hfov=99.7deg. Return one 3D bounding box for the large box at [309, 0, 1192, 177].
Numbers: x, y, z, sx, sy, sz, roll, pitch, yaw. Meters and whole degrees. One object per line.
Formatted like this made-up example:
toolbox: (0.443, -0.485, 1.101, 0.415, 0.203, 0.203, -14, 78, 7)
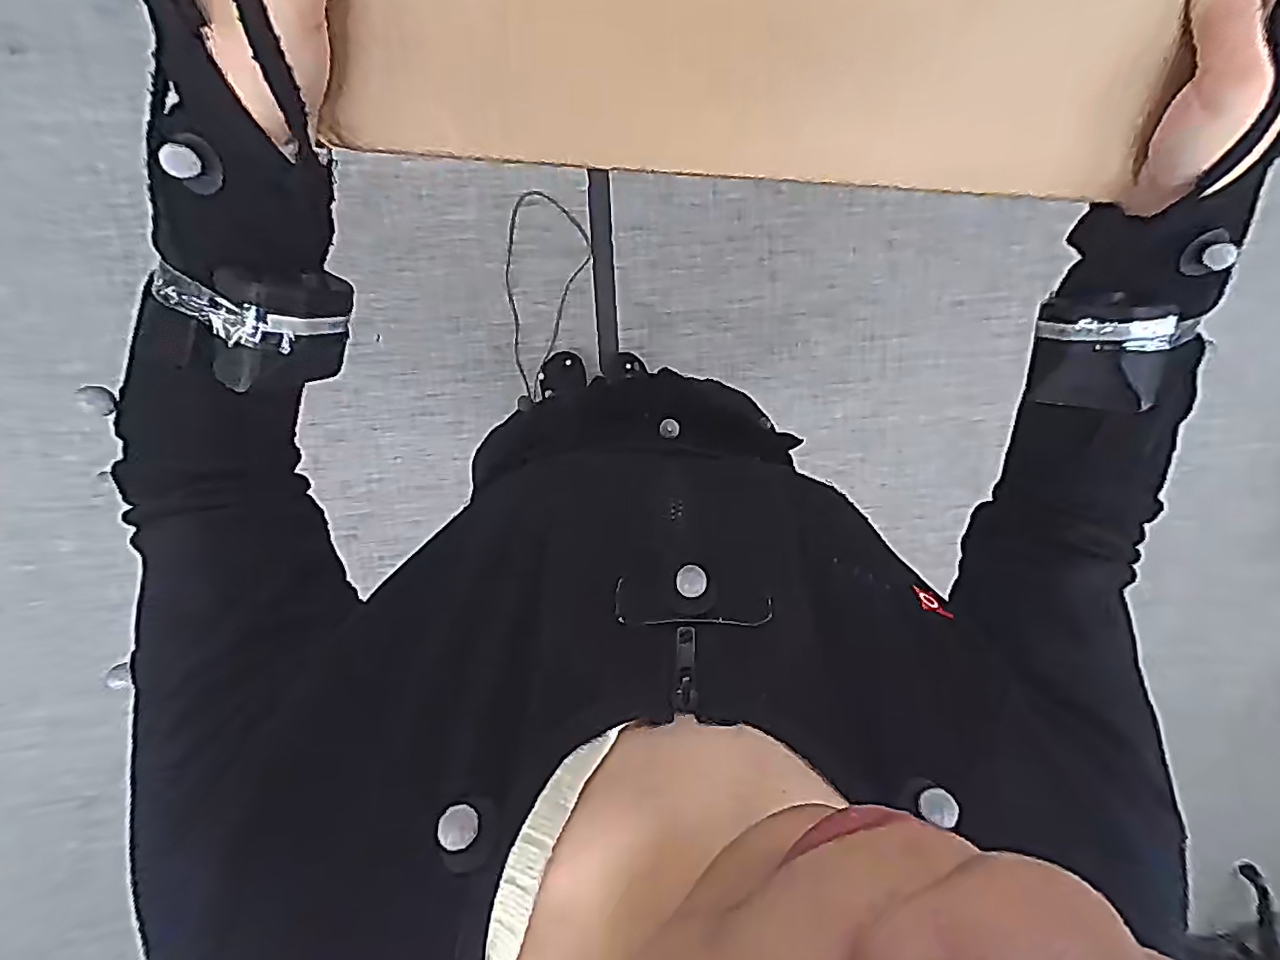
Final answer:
large box: (0.051, -0.374, 0.311, 0.408, 0.320, 0.320, 2, 126, -4)
